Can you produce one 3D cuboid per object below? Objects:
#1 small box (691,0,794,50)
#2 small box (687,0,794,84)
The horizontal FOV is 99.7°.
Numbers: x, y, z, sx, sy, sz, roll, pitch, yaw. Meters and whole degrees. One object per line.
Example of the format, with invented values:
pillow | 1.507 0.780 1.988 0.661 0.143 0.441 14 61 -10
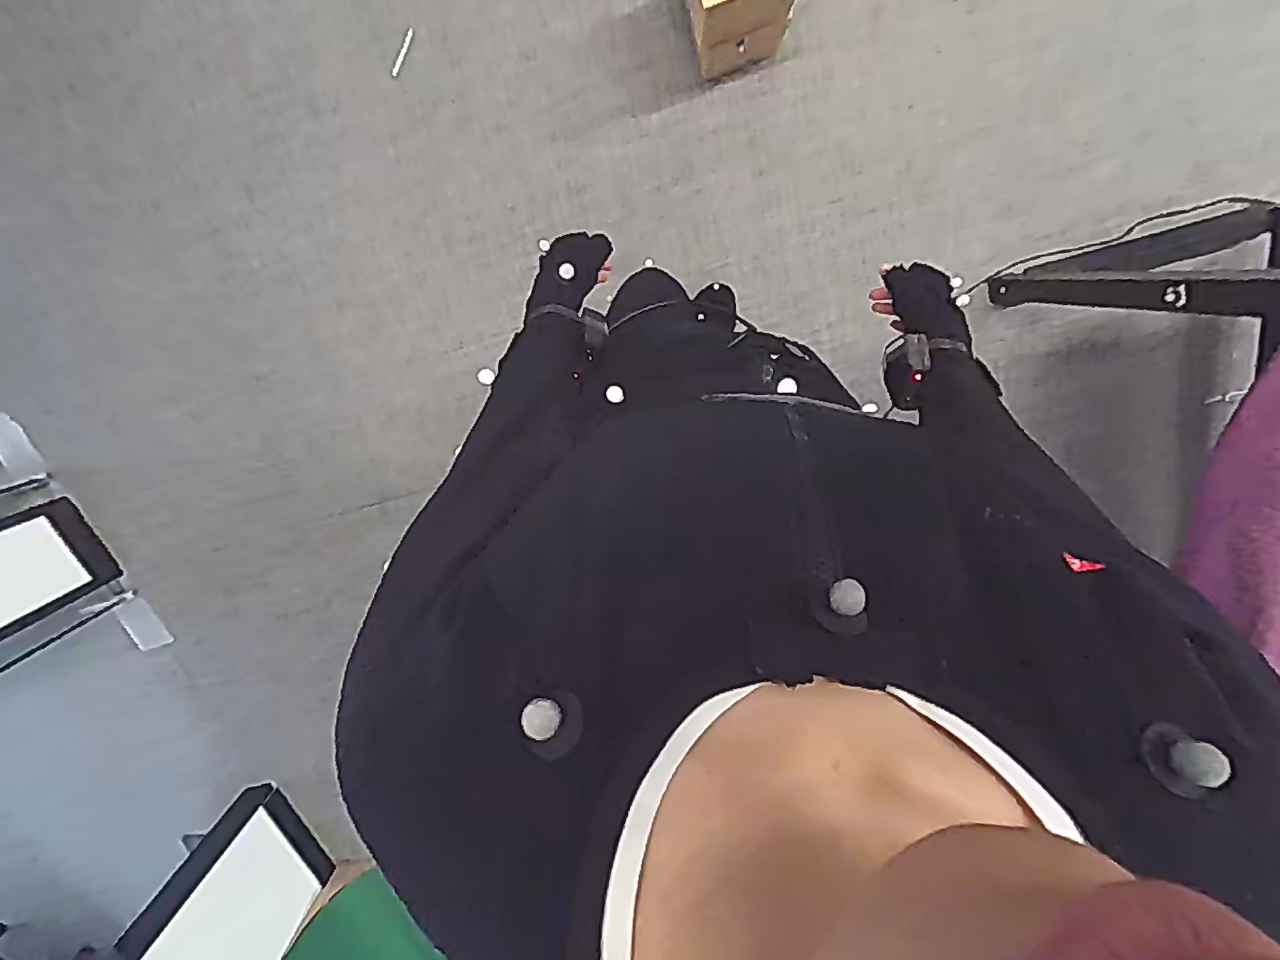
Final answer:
small box | 0.170 -0.885 0.925 0.179 0.176 0.168 -16 108 9
small box | 0.192 -0.941 1.078 0.168 0.176 0.179 -15 107 9
